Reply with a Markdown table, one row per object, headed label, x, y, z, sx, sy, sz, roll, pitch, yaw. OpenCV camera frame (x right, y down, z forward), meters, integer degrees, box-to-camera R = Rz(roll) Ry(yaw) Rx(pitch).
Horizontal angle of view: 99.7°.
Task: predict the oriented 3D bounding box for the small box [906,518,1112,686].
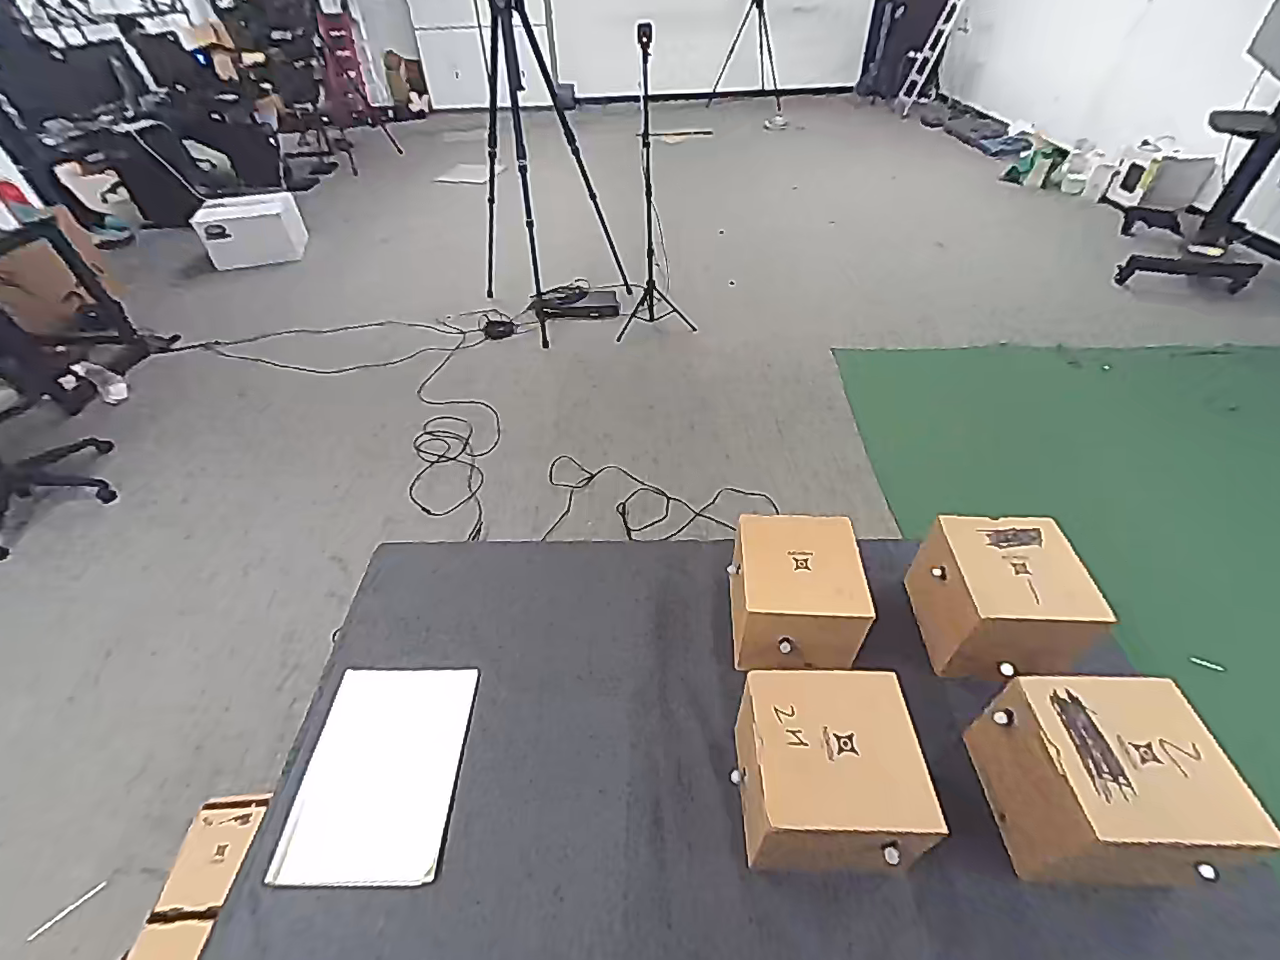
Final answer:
| label | x | y | z | sx | sy | sz | roll | pitch | yaw |
| --- | --- | --- | --- | --- | --- | --- | --- | --- | --- |
| small box | 0.516 | 0.177 | 0.793 | 0.168 | 0.176 | 0.179 | 1 | 44 | 5 |

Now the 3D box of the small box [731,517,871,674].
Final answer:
| label | x | y | z | sx | sy | sz | roll | pitch | yaw |
| --- | --- | --- | --- | --- | --- | --- | --- | --- | --- |
| small box | 0.227 | 0.176 | 0.812 | 0.168 | 0.176 | 0.179 | 1 | 43 | 5 |

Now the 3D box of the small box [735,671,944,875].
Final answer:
| label | x | y | z | sx | sy | sz | roll | pitch | yaw |
| --- | --- | --- | --- | --- | --- | --- | --- | --- | --- |
| small box | 0.212 | 0.342 | 0.632 | 0.179 | 0.176 | 0.168 | -1 | 42 | 3 |
